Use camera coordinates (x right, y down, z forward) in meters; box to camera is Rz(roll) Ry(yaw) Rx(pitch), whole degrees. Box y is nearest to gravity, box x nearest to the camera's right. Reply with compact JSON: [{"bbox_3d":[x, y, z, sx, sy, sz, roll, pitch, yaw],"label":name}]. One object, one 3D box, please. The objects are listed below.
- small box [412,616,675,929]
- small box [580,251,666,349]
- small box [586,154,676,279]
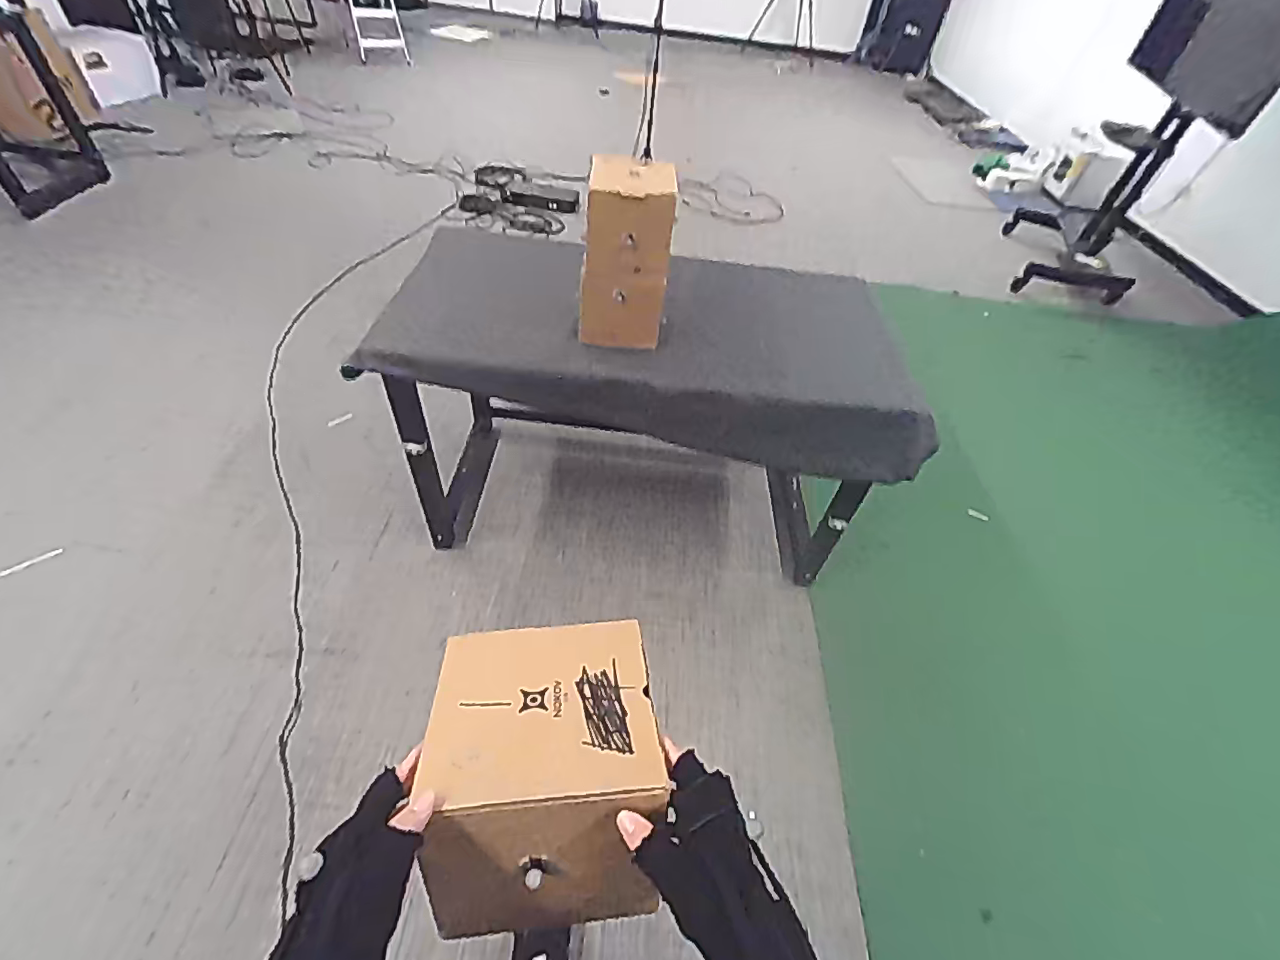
[{"bbox_3d":[-0.079,0.241,0.466,0.179,0.176,0.168,-2,29,-11],"label":"small box"},{"bbox_3d":[-0.039,-0.411,1.200,0.179,0.176,0.168,6,48,-4],"label":"small box"},{"bbox_3d":[-0.021,-0.524,1.083,0.168,0.176,0.179,4,49,-4],"label":"small box"}]
